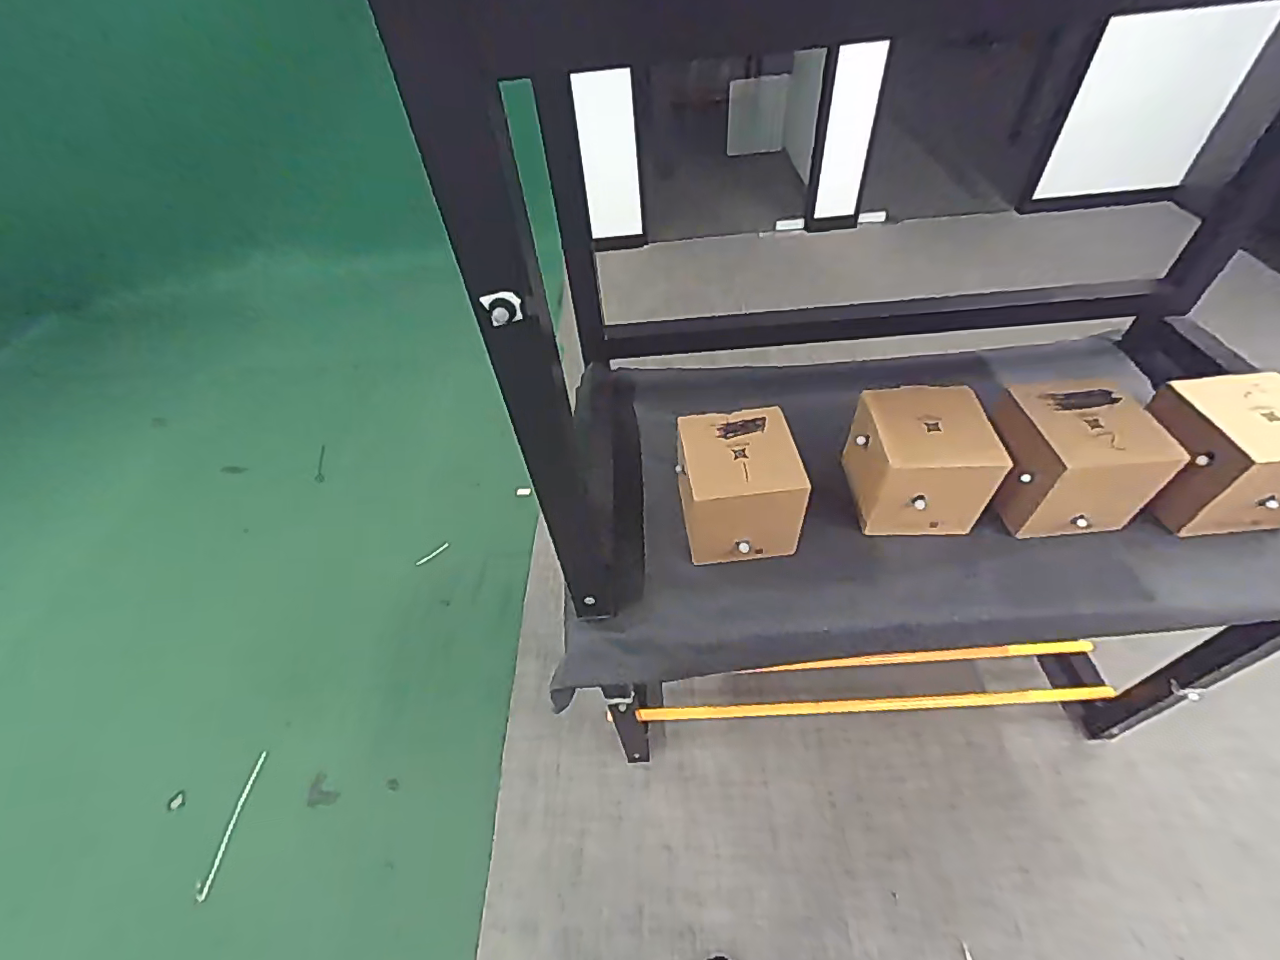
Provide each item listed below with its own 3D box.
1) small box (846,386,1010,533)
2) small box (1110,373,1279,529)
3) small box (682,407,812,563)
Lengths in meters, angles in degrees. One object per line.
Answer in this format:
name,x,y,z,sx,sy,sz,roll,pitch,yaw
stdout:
small box,0.443,-0.028,0.867,0.168,0.176,0.179,-1,48,5
small box,0.889,-0.037,0.823,0.168,0.176,0.179,-5,48,1
small box,0.157,0.009,0.861,0.168,0.176,0.179,-6,49,0
